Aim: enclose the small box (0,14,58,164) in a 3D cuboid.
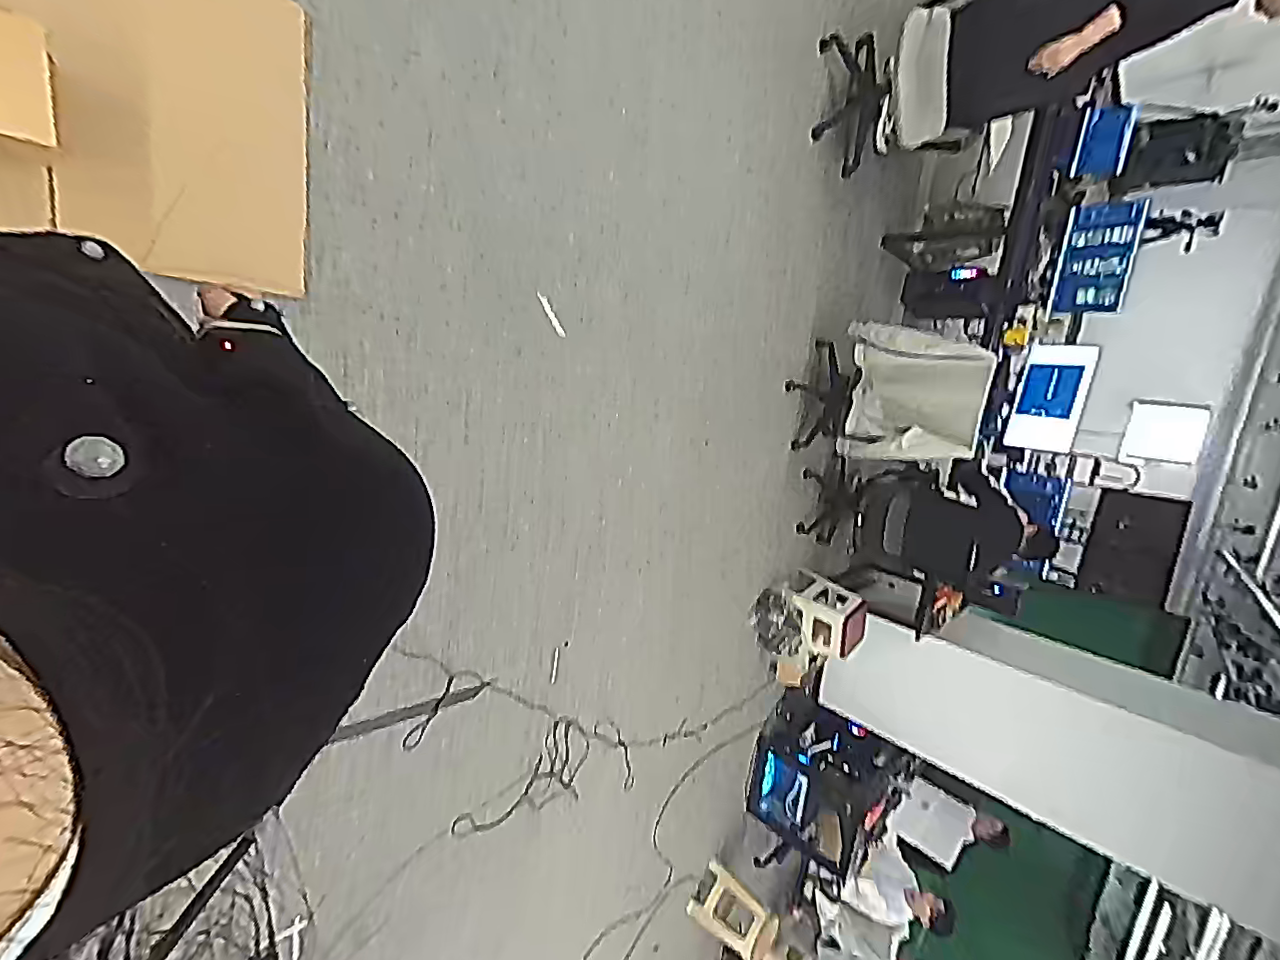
[{"bbox_3d":[-1.033,-0.617,0.839,0.168,0.176,0.179,-7,107,-46],"label":"small box"}]
